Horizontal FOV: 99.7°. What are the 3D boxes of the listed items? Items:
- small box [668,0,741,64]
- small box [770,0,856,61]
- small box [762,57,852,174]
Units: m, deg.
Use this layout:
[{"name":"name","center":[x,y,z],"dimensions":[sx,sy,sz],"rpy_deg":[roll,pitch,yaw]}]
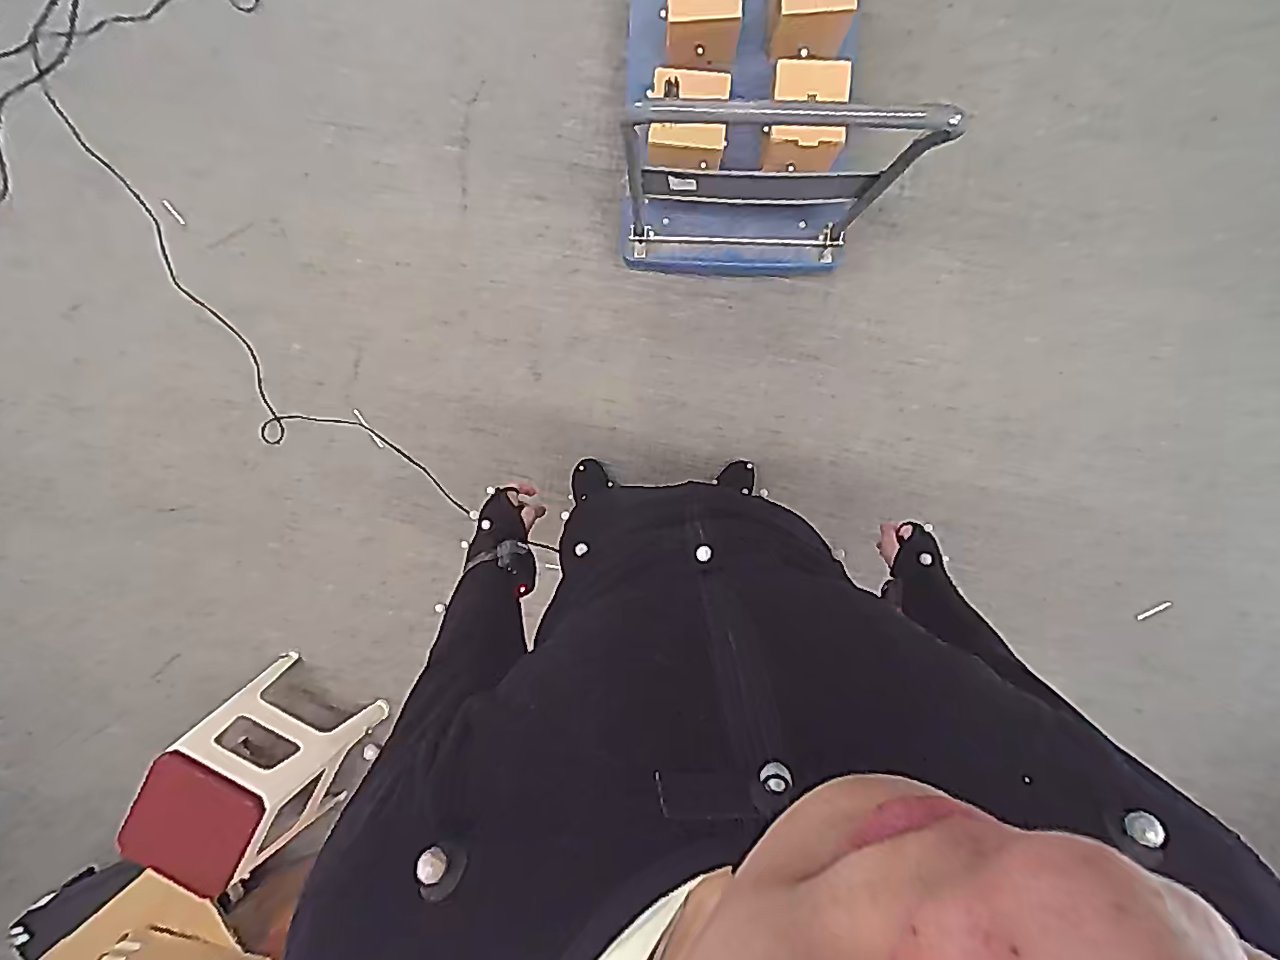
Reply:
[{"name":"small box","center":[0.150,-1.130,1.288],"dimensions":[0.168,0.176,0.179],"rpy_deg":[-1,95,3]},{"name":"small box","center":[0.401,-1.136,1.272],"dimensions":[0.168,0.176,0.179],"rpy_deg":[-1,96,4]},{"name":"small box","center":[0.392,-0.867,1.297],"dimensions":[0.168,0.176,0.179],"rpy_deg":[3,95,3]}]
